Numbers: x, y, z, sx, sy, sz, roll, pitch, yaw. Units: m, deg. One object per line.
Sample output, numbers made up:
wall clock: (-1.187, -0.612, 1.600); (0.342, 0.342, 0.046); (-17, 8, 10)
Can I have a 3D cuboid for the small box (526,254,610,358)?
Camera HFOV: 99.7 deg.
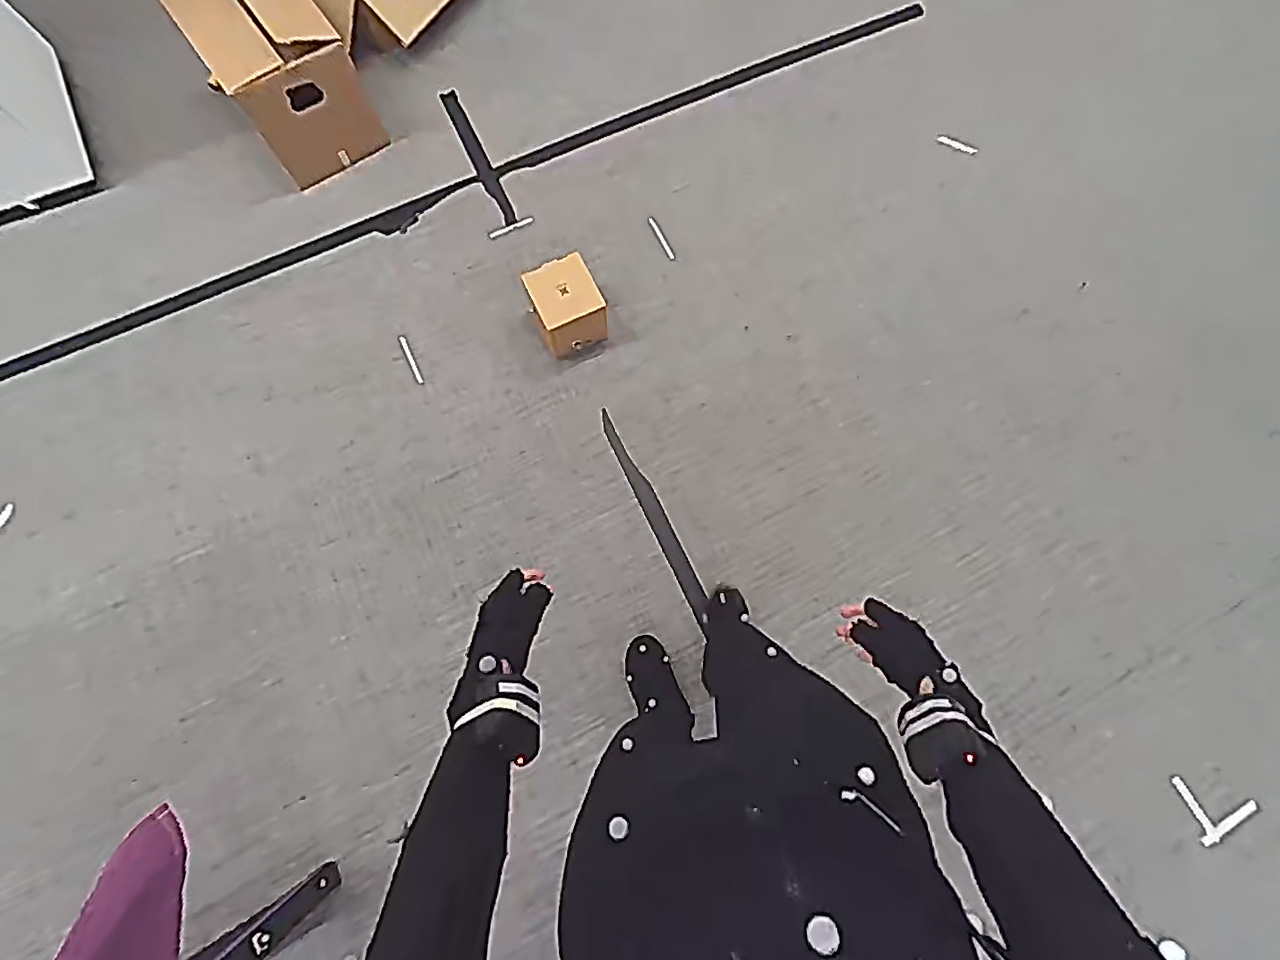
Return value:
small box: (-0.189, -0.462, 1.455); (0.168, 0.176, 0.179); (-26, 80, -7)
